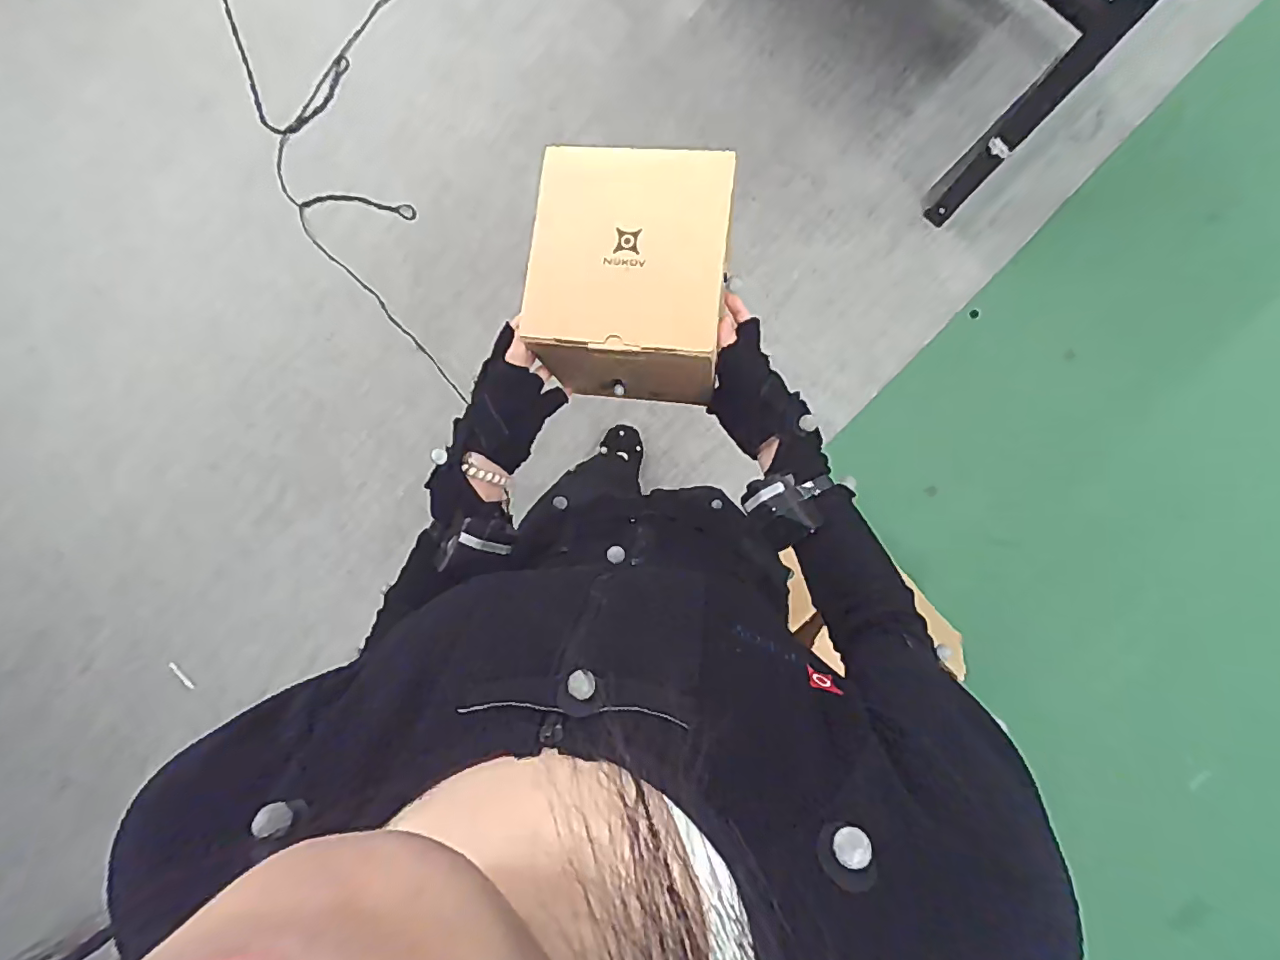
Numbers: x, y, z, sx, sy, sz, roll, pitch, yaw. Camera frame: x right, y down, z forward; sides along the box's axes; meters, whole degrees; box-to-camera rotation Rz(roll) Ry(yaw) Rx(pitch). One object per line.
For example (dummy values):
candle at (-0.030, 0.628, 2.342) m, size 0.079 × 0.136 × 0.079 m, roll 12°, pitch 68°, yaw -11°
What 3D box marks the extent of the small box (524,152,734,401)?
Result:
small box at (-0.002, -0.190, 0.545) m, size 0.168 × 0.176 × 0.179 m, roll 7°, pitch 86°, yaw 7°
